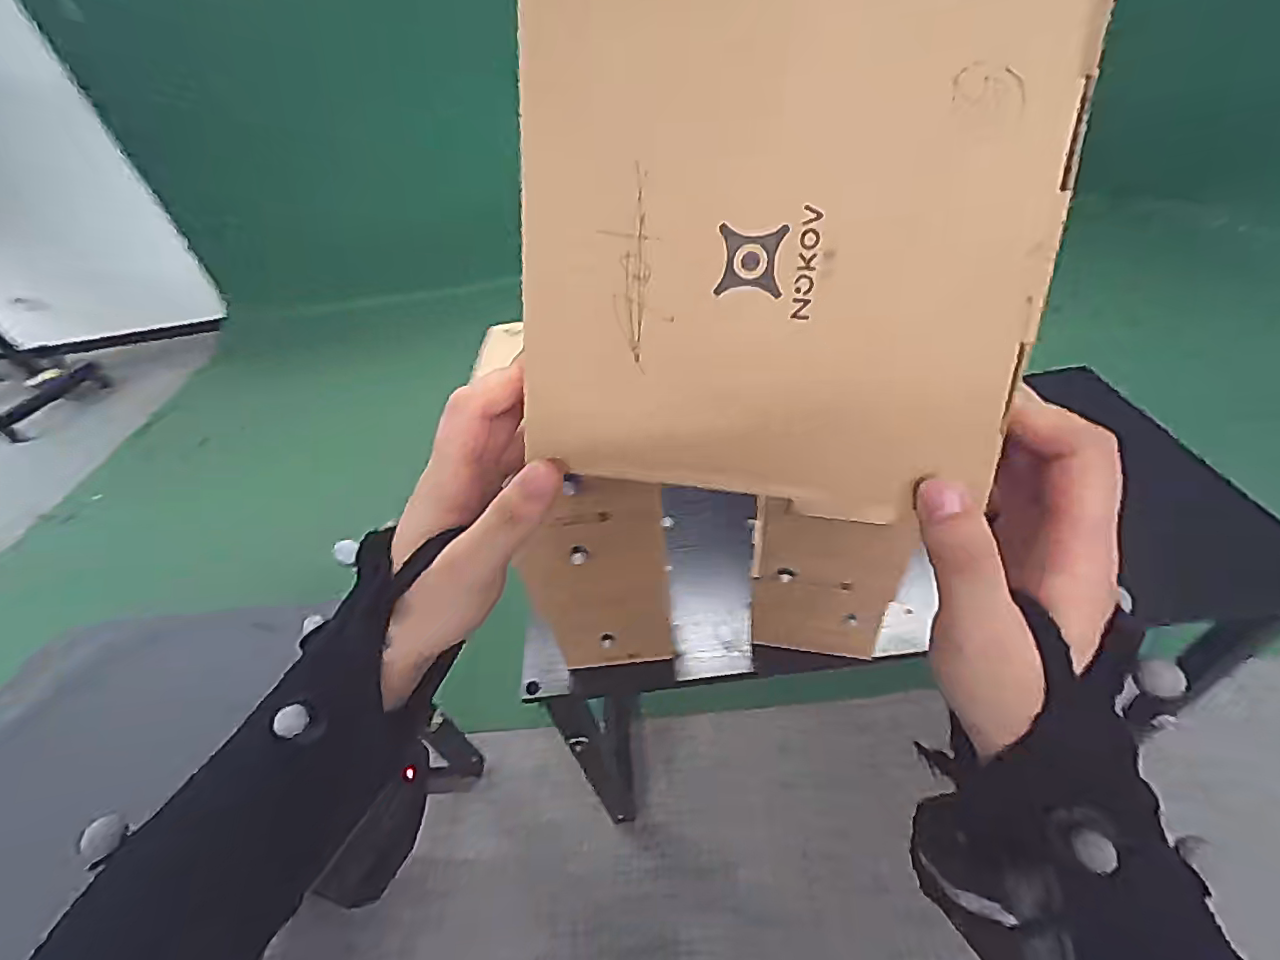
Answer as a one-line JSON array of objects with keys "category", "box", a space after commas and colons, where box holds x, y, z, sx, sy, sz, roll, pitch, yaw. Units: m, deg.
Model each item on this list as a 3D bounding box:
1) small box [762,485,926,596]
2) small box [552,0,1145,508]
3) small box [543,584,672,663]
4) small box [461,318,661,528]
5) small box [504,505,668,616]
[{"category": "small box", "box": [0.245, 0.022, 0.677, 0.168, 0.176, 0.179, 6, 45, 16]}, {"category": "small box", "box": [0.070, -0.096, 0.261, 0.179, 0.168, 0.176, 6, 15, 13]}, {"category": "small box", "box": [-0.044, 0.163, 0.824, 0.168, 0.176, 0.179, -7, 43, 2]}, {"category": "small box", "box": [-0.070, -0.061, 0.588, 0.168, 0.176, 0.179, -7, 44, 4]}, {"category": "small box", "box": [-0.058, 0.057, 0.701, 0.179, 0.176, 0.168, -8, 44, 3]}]
